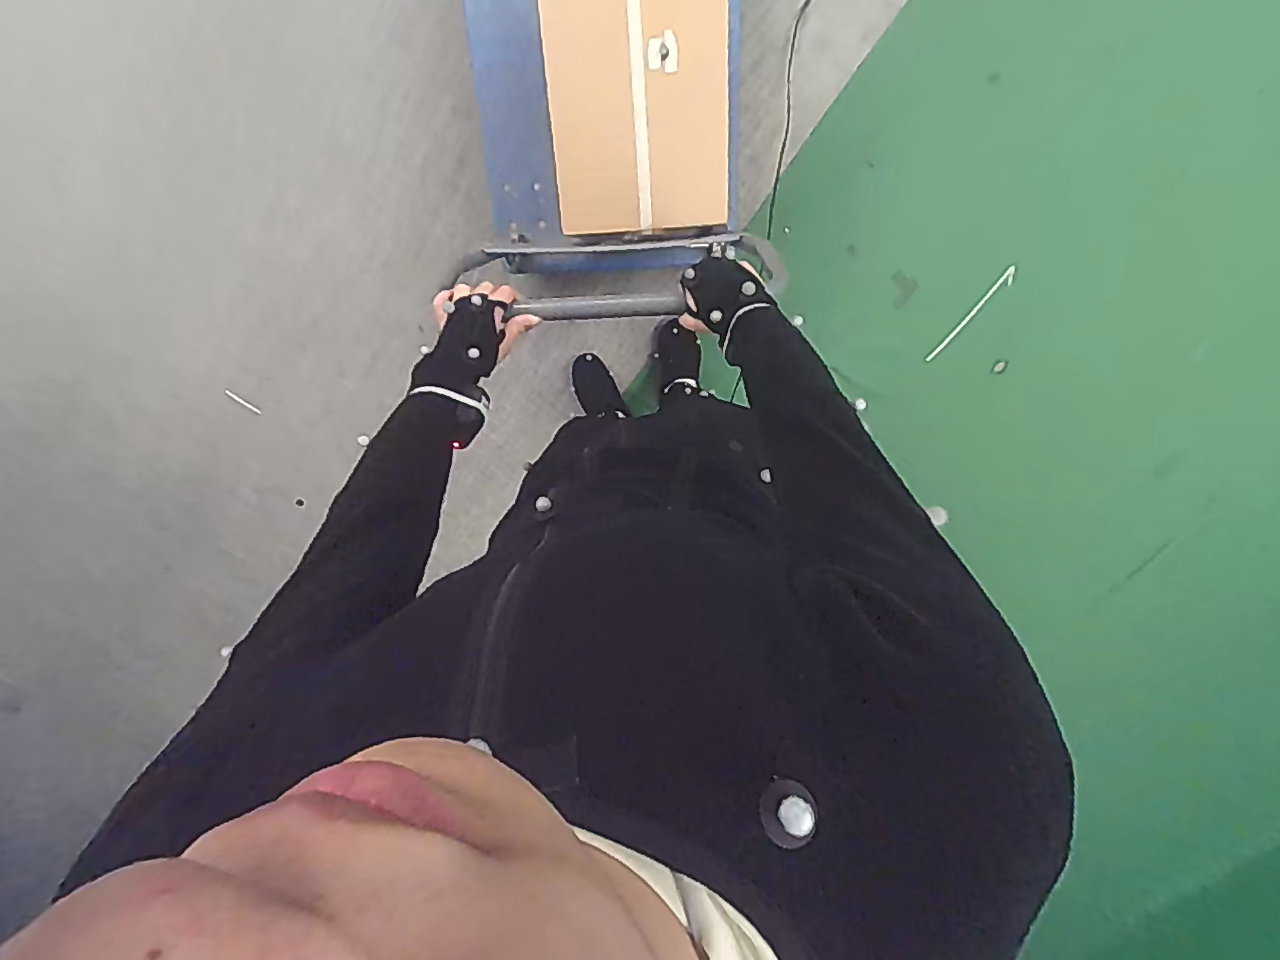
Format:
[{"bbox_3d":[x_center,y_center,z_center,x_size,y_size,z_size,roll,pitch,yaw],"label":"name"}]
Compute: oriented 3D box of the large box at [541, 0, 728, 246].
[{"bbox_3d":[0.001,-0.709,1.102,0.320,0.320,0.408,-3,112,1],"label":"large box"}]
